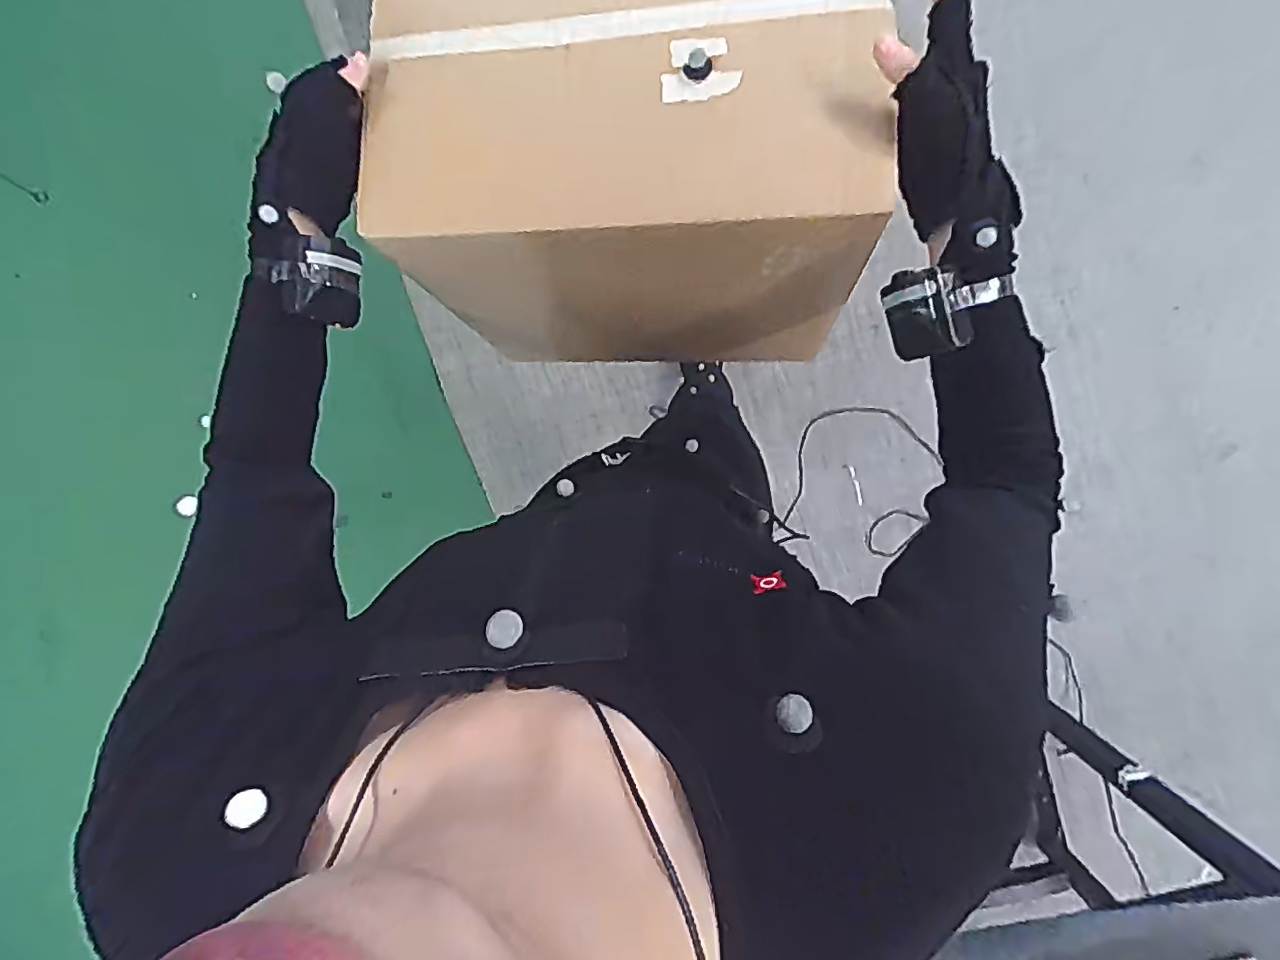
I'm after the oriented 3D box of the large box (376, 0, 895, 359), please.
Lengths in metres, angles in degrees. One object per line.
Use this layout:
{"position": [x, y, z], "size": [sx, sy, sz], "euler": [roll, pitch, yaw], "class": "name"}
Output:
{"position": [0.005, -0.330, 0.573], "size": [0.408, 0.320, 0.320], "euler": [1, 83, 7], "class": "large box"}
